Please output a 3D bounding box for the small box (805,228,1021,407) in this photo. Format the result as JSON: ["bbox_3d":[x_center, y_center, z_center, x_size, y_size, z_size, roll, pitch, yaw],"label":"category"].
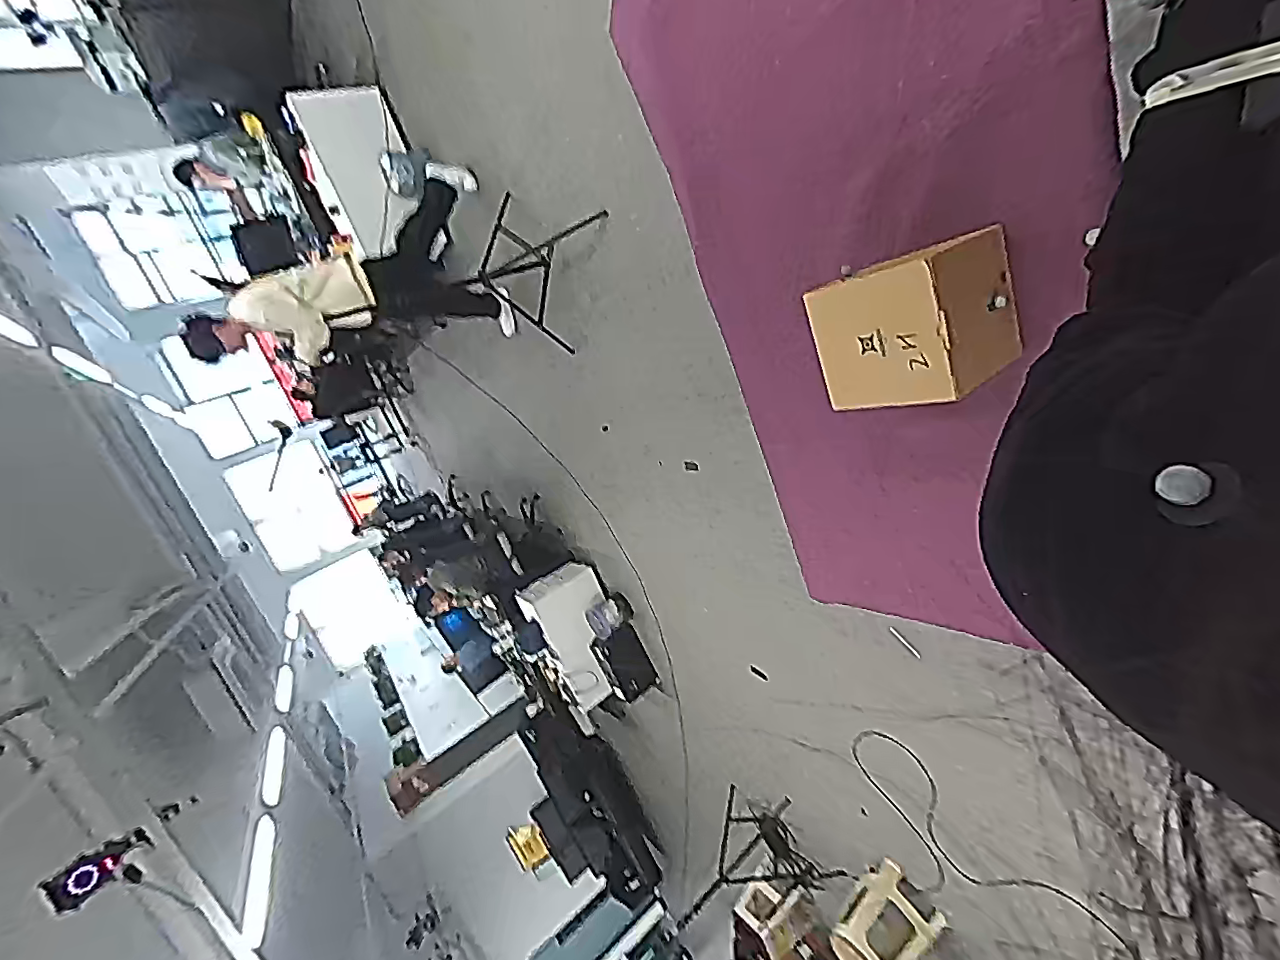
[{"bbox_3d":[0.354,-0.205,0.706,0.179,0.176,0.168,5,120,58],"label":"small box"}]
